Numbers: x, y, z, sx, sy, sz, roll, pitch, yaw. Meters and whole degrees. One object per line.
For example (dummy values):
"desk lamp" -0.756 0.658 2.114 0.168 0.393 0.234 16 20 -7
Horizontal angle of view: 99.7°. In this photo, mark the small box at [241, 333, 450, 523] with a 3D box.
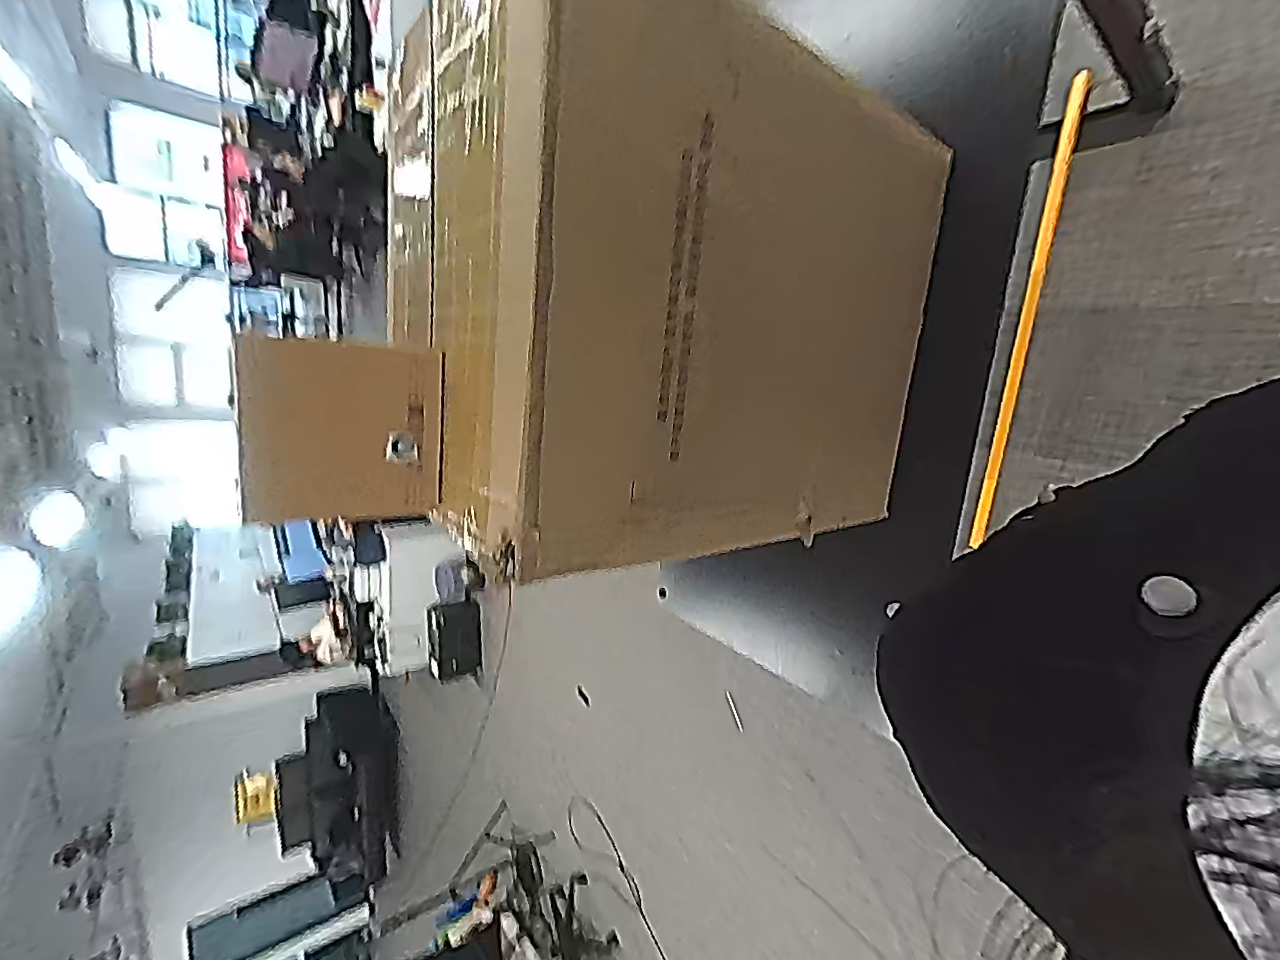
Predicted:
"small box" -0.311 -0.058 0.569 0.179 0.176 0.168 14 105 52
